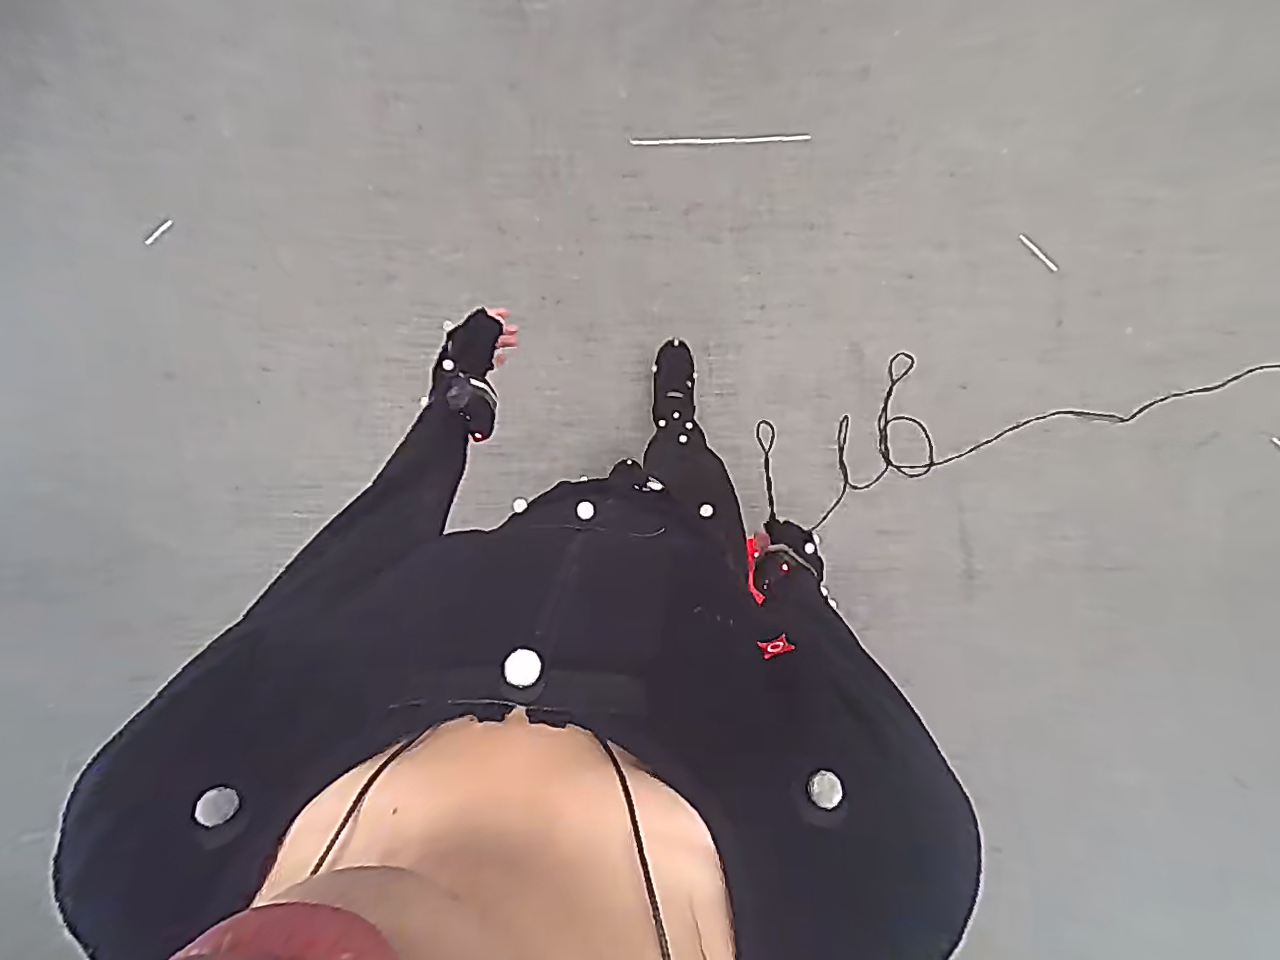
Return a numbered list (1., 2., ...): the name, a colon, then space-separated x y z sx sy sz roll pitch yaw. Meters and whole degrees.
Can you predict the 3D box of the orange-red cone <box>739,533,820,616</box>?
1. orange-red cone: 0.376 0.266 1.340 0.198 0.360 0.199 4 95 1
